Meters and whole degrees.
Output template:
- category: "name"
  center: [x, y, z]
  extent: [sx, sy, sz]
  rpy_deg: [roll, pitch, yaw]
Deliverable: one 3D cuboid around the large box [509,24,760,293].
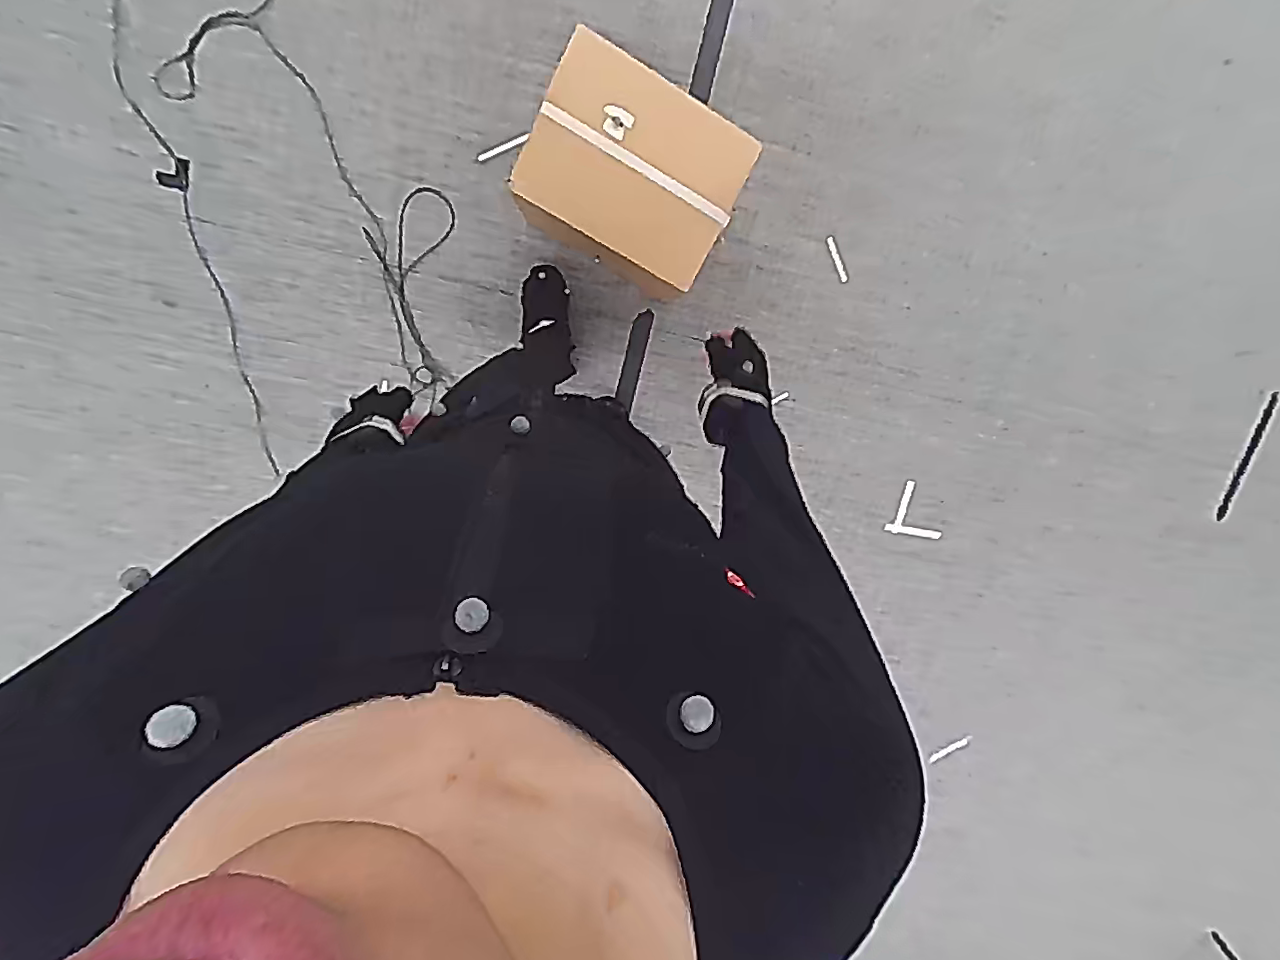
- category: "large box"
  center: [-0.015, -0.651, 1.185]
  extent: [0.408, 0.320, 0.320]
  rpy_deg: [27, 101, -10]
